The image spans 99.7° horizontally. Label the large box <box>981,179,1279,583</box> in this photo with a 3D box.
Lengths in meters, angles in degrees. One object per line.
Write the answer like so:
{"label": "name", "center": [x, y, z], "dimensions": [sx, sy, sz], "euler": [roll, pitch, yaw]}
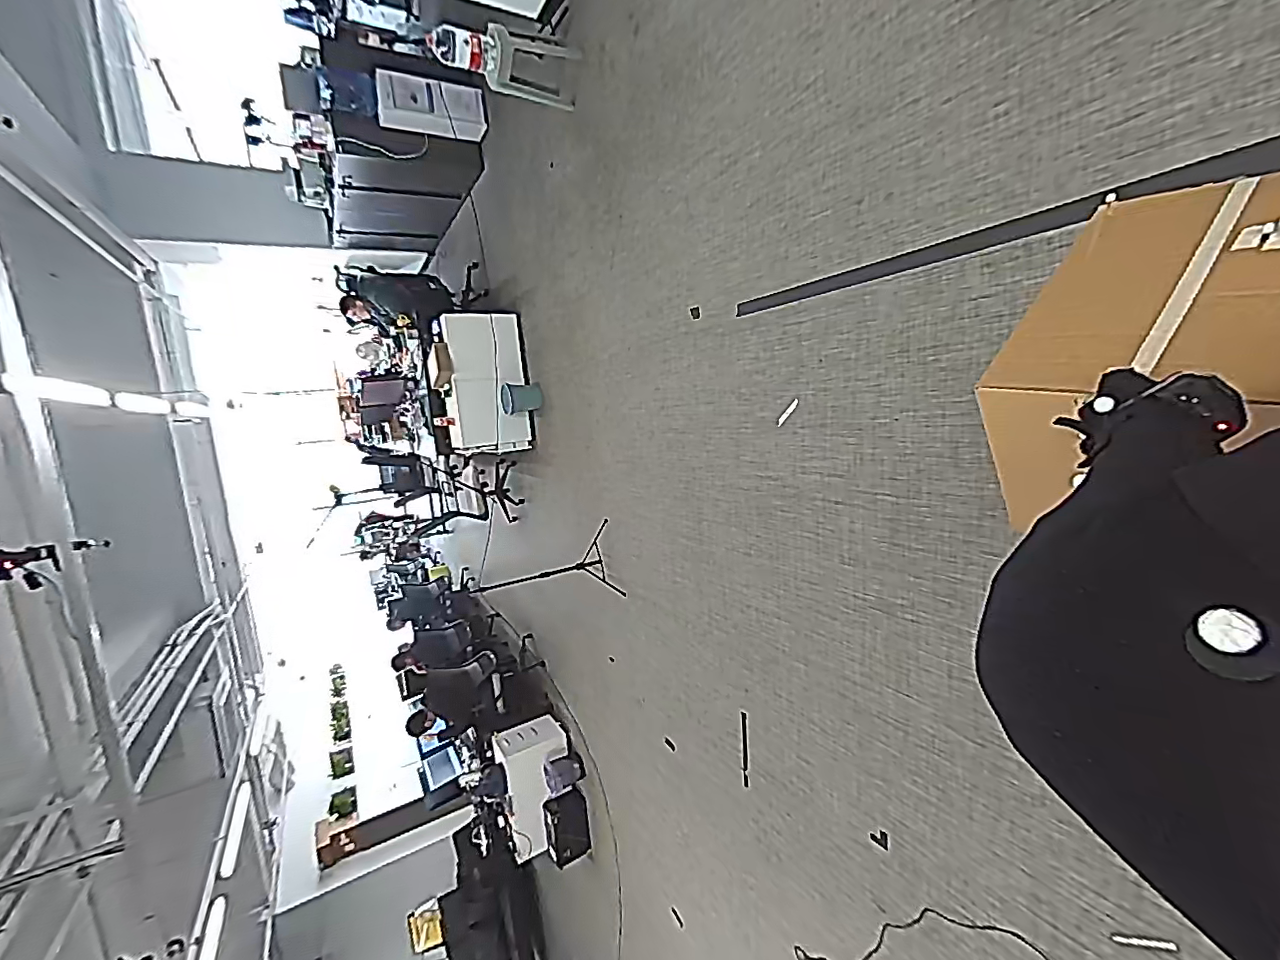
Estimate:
{"label": "large box", "center": [0.742, -0.137, 0.731], "dimensions": [0.320, 0.408, 0.320], "euler": [21, 155, 54]}
